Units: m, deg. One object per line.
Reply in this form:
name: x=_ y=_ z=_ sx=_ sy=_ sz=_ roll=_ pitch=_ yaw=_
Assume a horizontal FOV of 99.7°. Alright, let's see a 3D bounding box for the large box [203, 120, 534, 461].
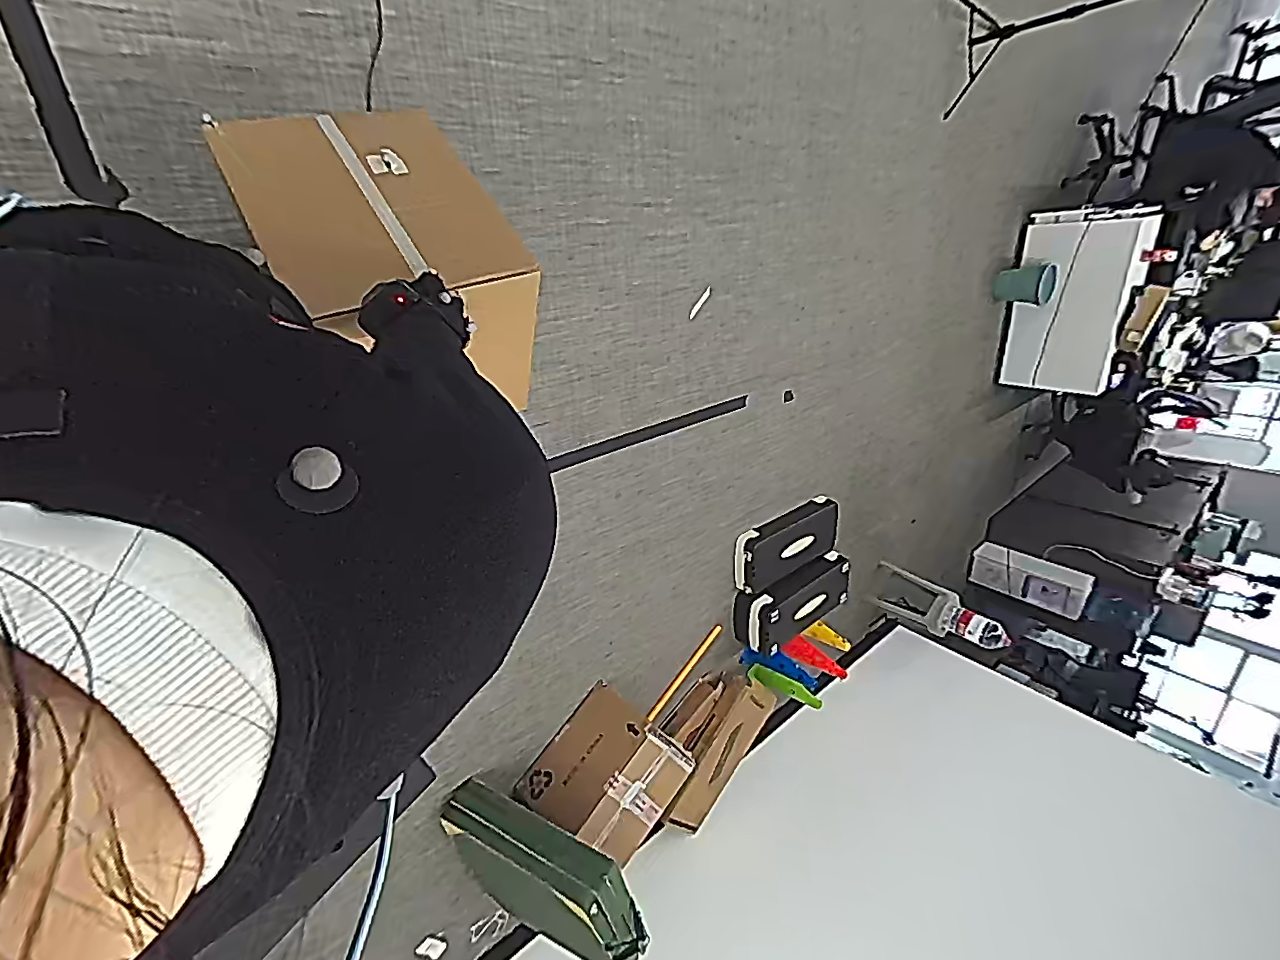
large box: x=-0.412 y=-0.309 z=0.885 sx=0.320 sy=0.408 sz=0.320 roll=-25 pitch=158 yaw=-29
